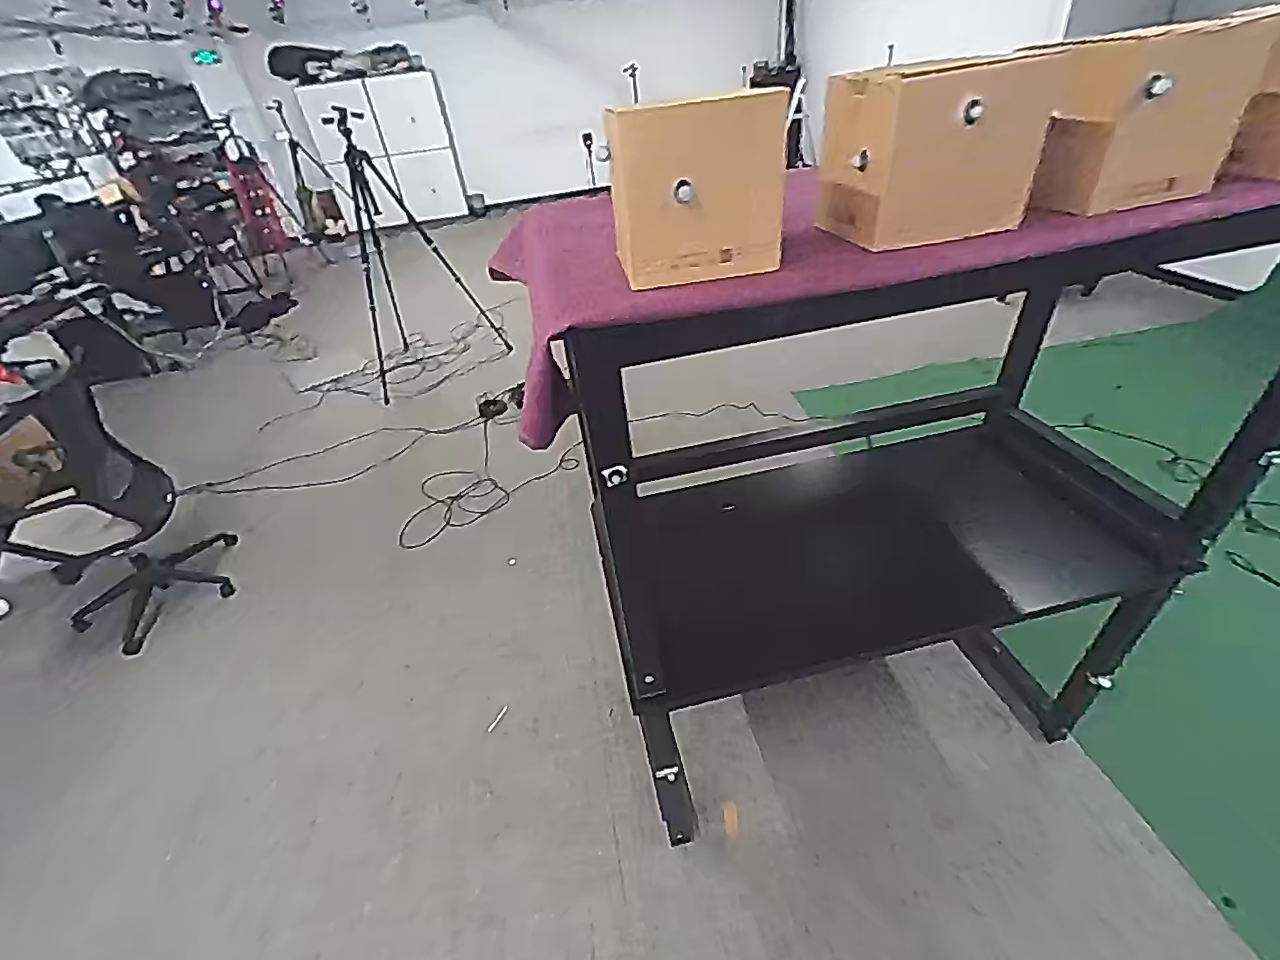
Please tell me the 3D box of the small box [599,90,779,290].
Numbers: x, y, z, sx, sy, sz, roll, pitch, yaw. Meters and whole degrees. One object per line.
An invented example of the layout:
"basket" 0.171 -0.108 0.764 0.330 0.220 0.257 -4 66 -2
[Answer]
"small box" 0.052 -0.324 0.611 0.168 0.176 0.179 -10 35 -2

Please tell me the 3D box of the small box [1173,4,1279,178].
"small box" 0.833 -0.490 0.673 0.179 0.176 0.168 -10 38 -1
